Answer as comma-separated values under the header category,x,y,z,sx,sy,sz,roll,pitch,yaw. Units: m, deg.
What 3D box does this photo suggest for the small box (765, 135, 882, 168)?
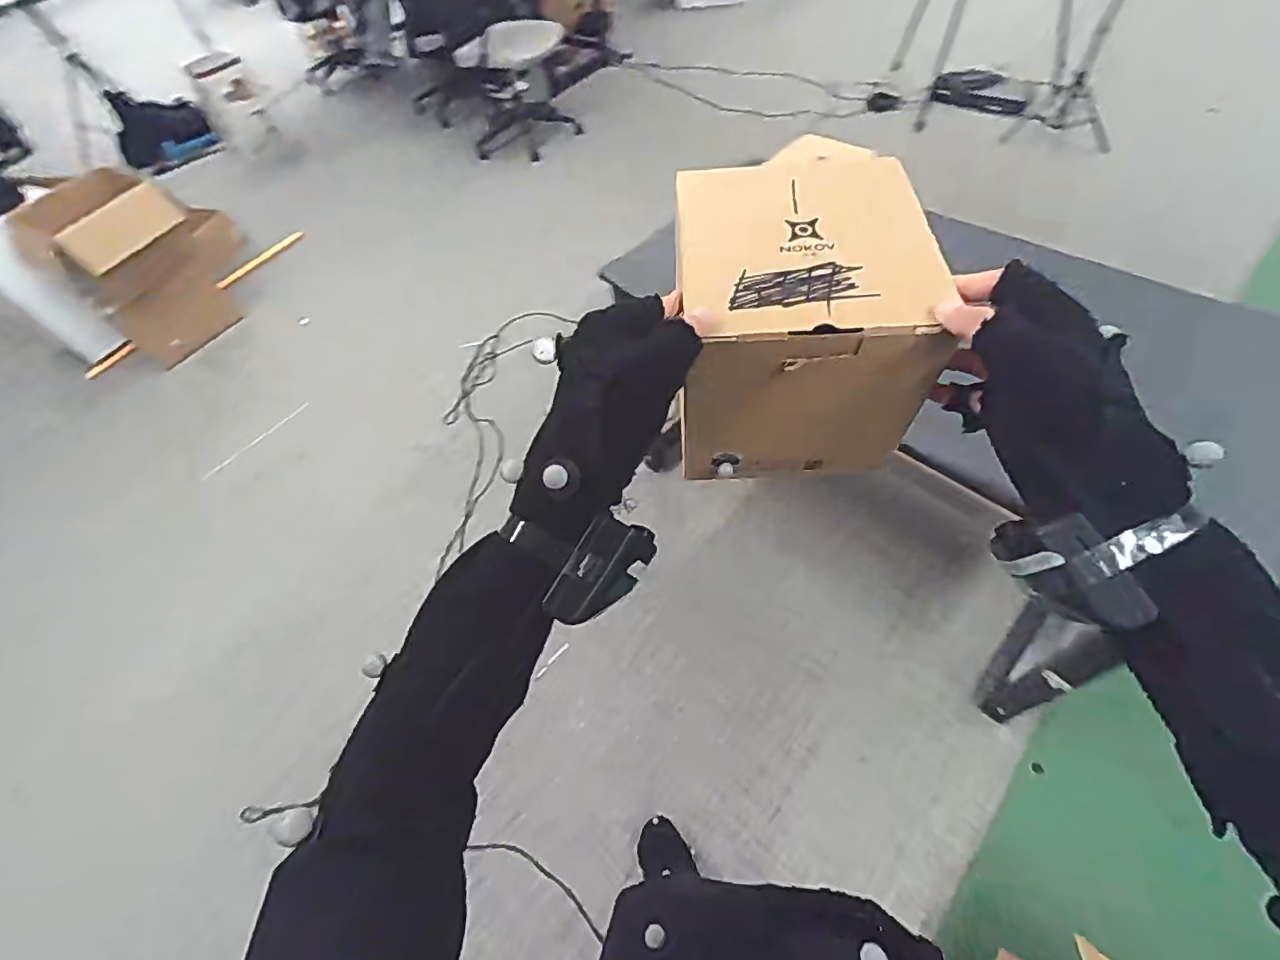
category,x,y,z,sx,sy,sz,roll,pitch,yaw
small box,0.369,-0.583,1.135,0.168,0.176,0.179,36,67,28

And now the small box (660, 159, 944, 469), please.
category,x,y,z,sx,sy,sz,roll,pitch,yaw
small box,0.103,-0.118,0.430,0.168,0.176,0.179,-3,59,3
